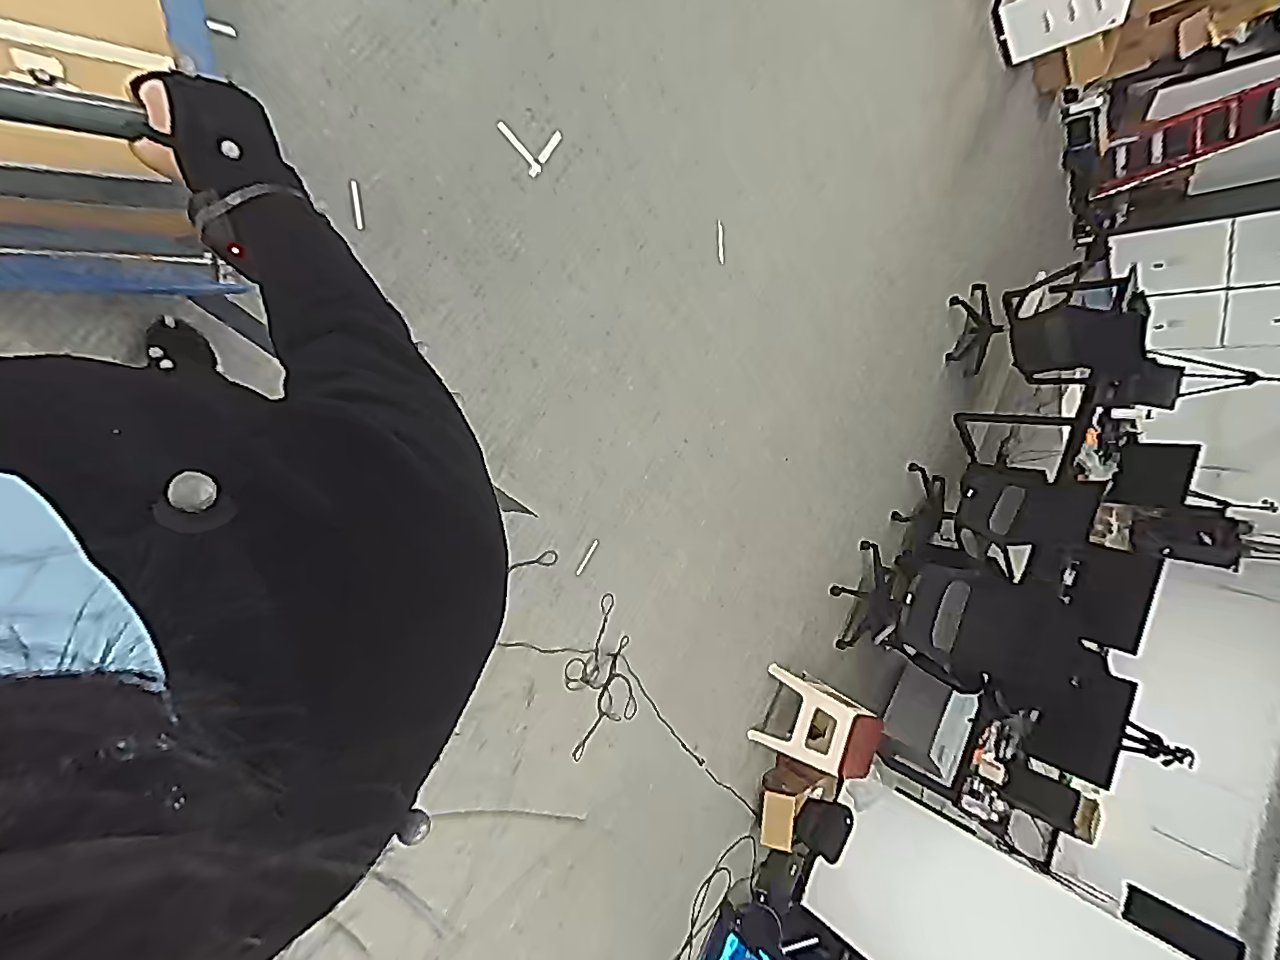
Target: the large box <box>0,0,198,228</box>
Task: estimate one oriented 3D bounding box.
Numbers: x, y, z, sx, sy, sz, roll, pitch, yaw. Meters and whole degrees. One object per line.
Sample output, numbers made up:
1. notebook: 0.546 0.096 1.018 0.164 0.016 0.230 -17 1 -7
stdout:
1. large box: -0.889 -0.548 0.720 0.408 0.320 0.320 -15 108 -41
